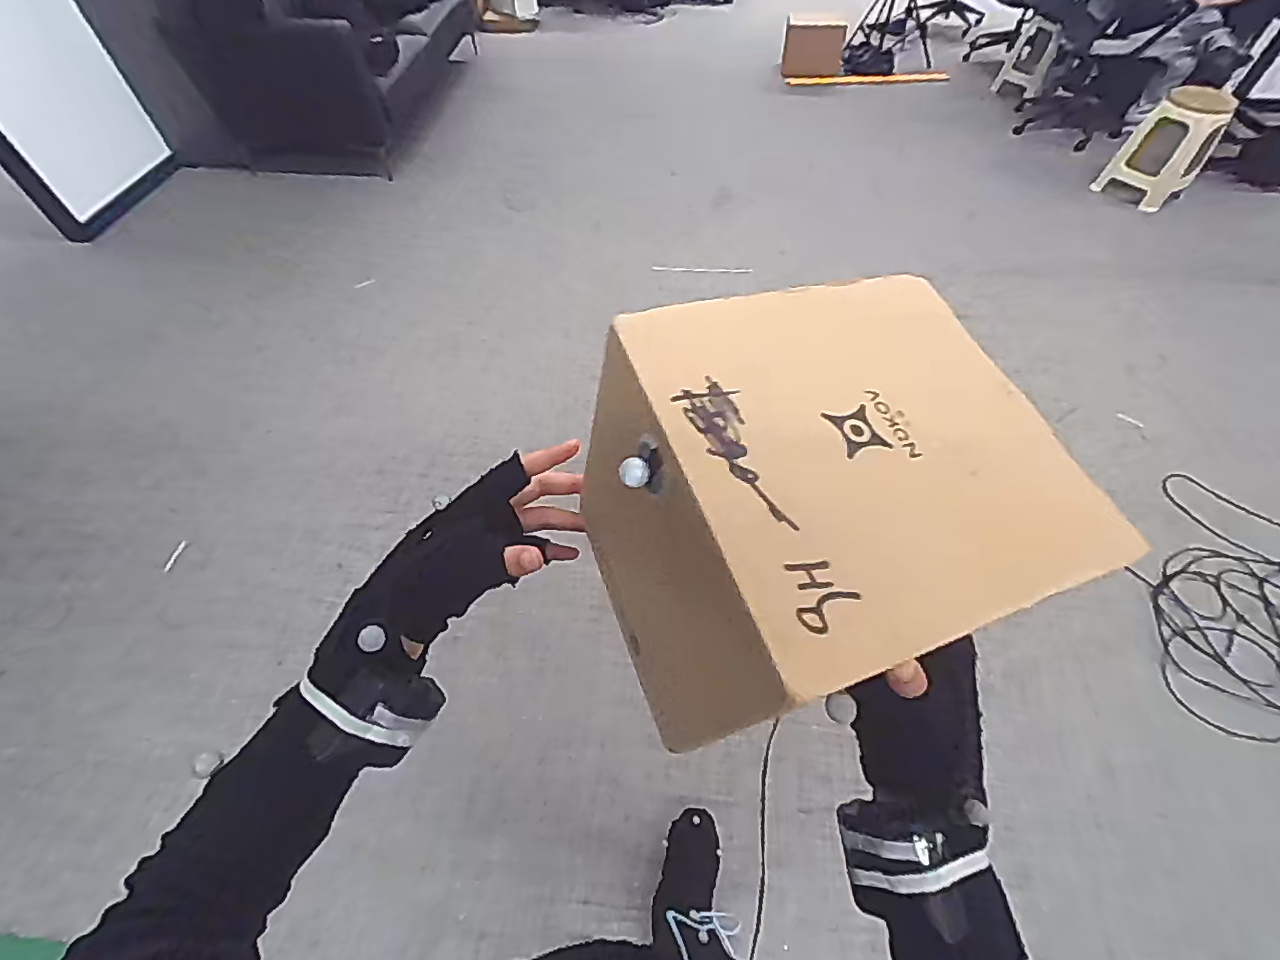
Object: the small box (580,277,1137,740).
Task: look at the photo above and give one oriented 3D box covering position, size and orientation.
[{"bbox_3d":[0.080,0.019,0.289,0.179,0.176,0.168,-13,62,-20],"label":"small box"}]
